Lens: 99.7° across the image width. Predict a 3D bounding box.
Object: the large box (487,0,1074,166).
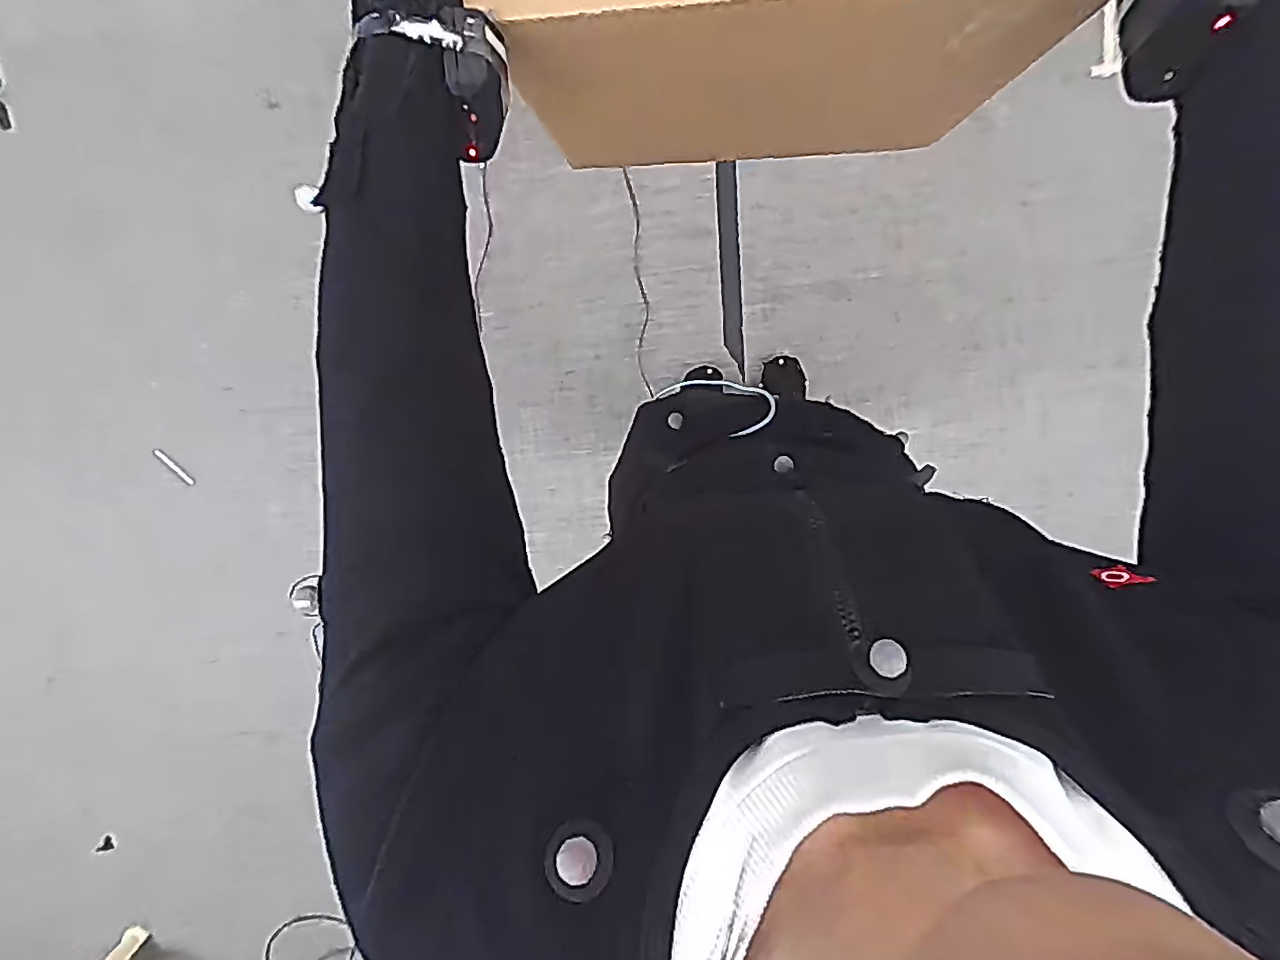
[{"bbox_3d":[0.100,-0.483,0.435,0.408,0.320,0.320,-2,105,5],"label":"large box"}]
